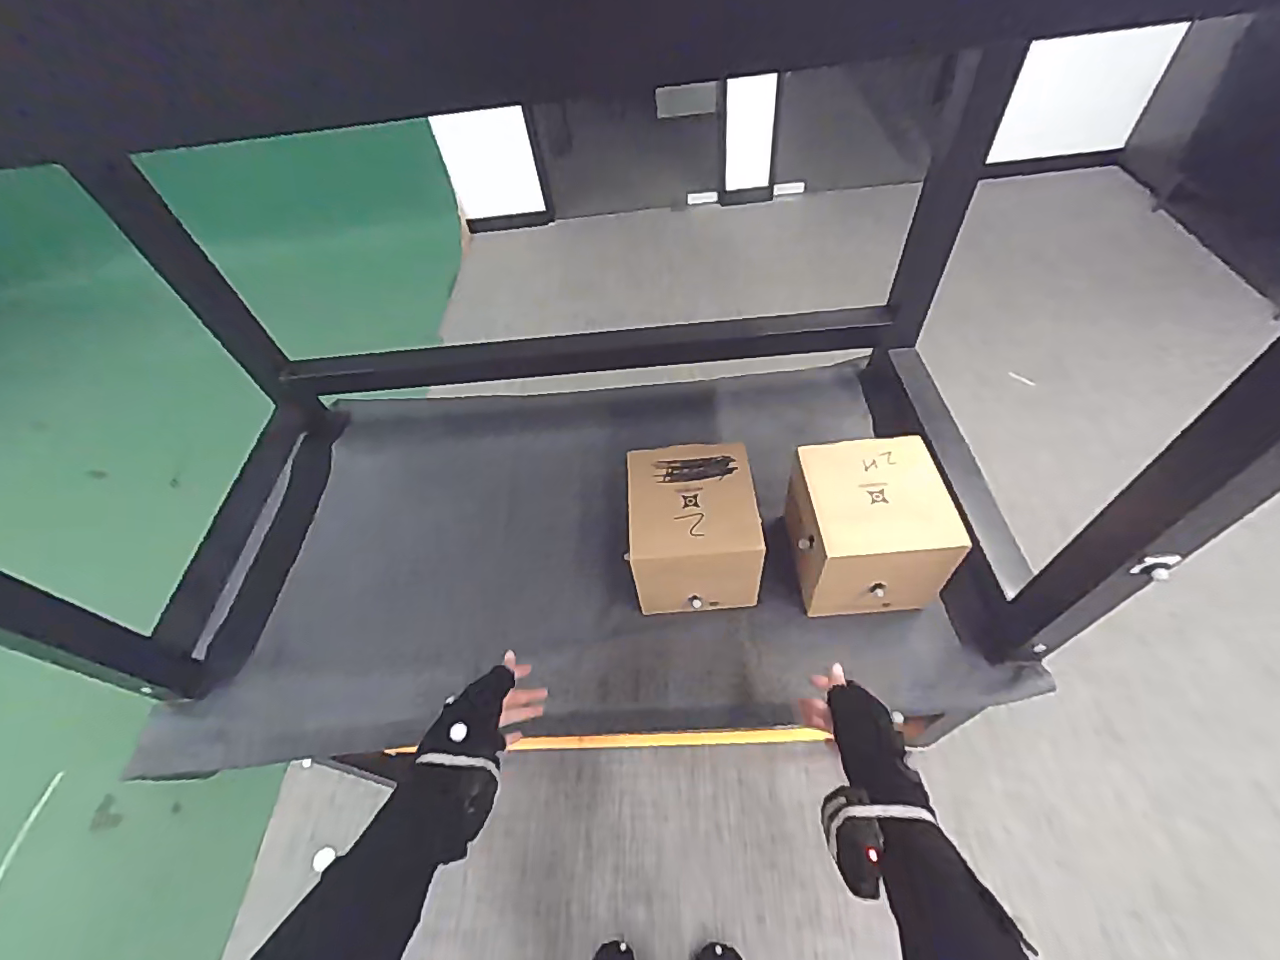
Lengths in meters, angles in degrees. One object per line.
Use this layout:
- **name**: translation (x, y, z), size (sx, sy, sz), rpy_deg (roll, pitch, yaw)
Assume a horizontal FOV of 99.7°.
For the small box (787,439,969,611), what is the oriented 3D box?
- **small box**: translation (0.305, 0.070, 0.739), size (0.168, 0.176, 0.179), rpy_deg (-5, 51, 3)
